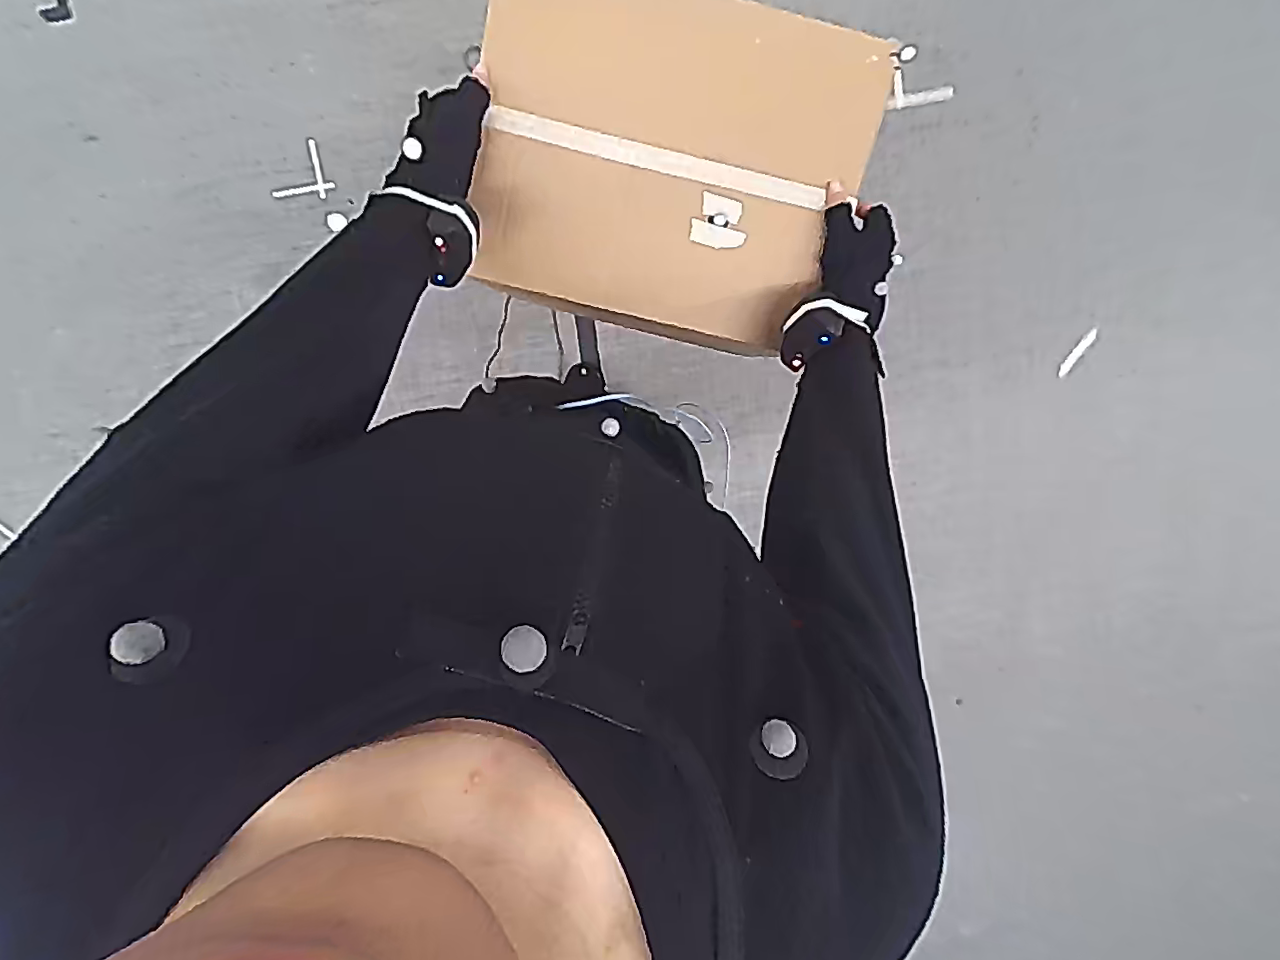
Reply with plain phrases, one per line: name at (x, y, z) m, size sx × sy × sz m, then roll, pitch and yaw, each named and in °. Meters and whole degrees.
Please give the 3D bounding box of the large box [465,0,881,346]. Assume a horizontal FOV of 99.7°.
large box at (0.022, -0.373, 0.722) m, size 0.408 × 0.320 × 0.320 m, roll 11°, pitch 104°, yaw -4°
